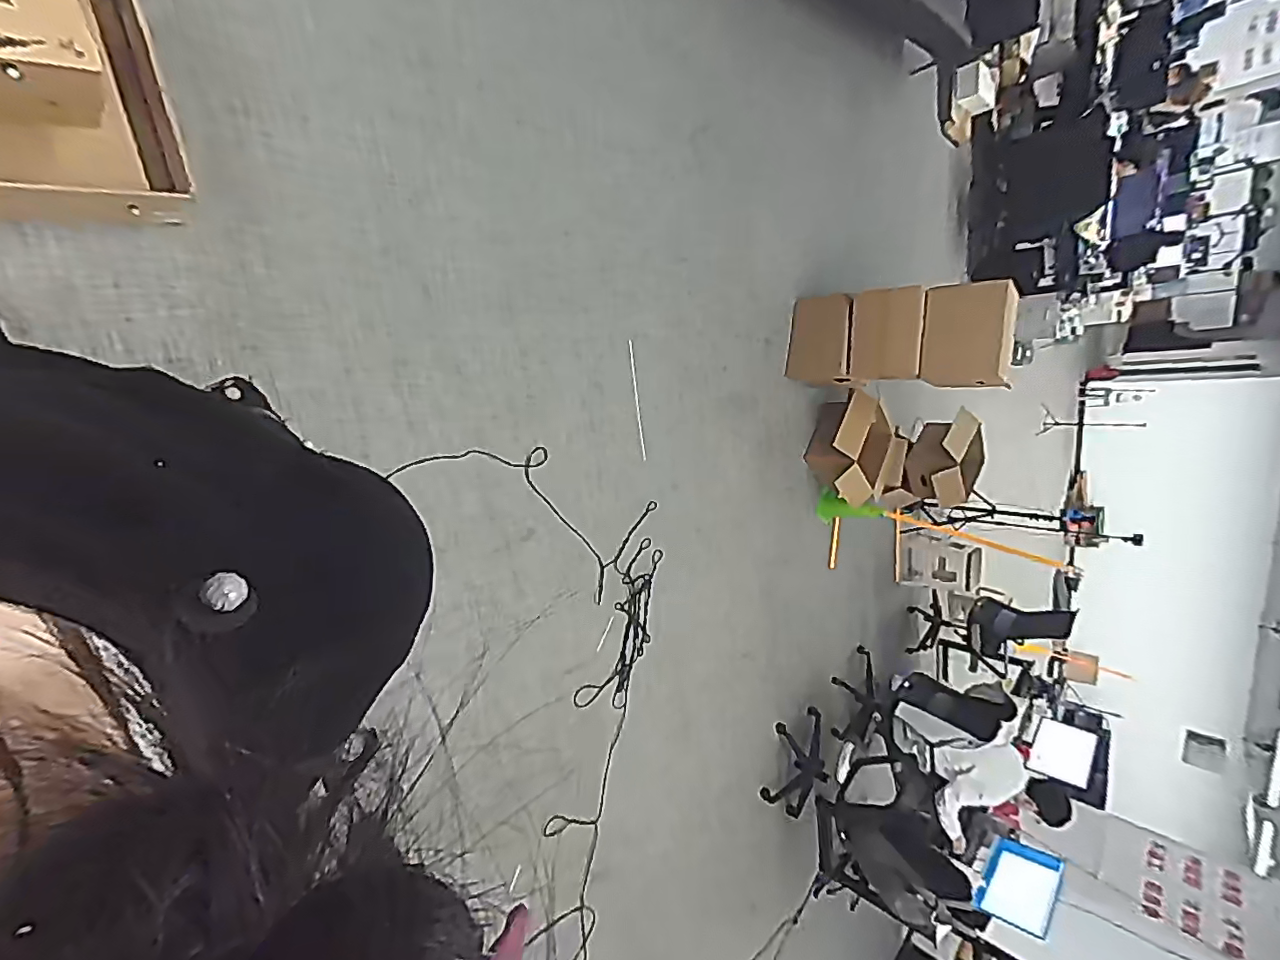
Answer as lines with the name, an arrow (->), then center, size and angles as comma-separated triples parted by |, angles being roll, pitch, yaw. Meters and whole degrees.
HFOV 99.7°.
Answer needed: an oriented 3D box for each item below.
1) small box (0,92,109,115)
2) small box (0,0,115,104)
small box -> -1.028, -0.728, 0.894 | 0.179, 0.176, 0.168 | -27, 115, -38
small box -> -0.907, -0.689, 0.787 | 0.168, 0.176, 0.179 | -22, 111, -38
